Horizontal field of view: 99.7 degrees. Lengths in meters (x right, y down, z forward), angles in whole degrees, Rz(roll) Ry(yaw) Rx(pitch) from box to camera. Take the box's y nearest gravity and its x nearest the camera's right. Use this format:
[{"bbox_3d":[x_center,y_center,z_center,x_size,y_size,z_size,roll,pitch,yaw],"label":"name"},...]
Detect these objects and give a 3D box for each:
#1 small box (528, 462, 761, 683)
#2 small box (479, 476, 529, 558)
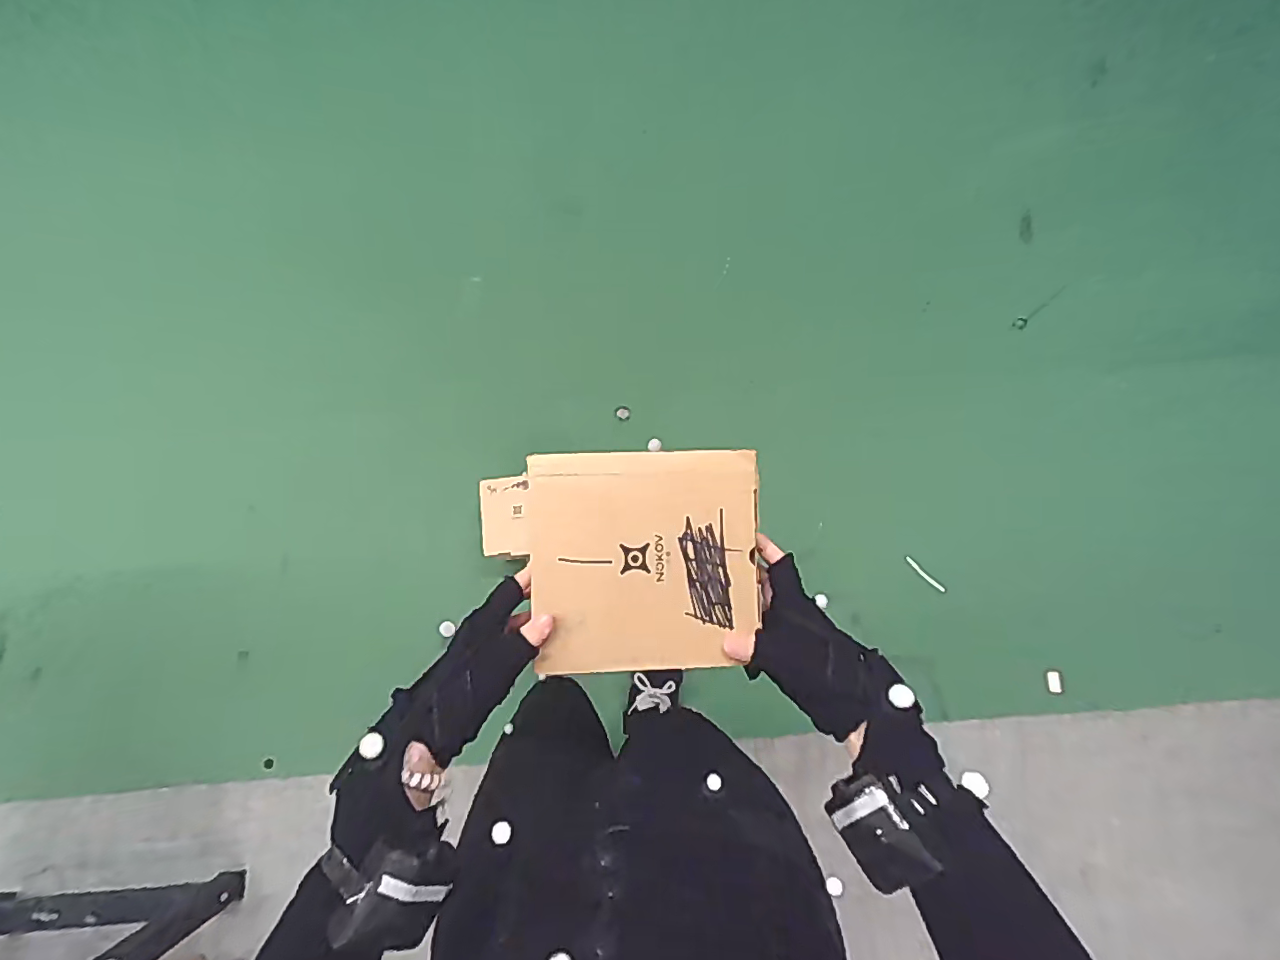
[{"bbox_3d":[-0.001,0.069,0.484,0.179,0.176,0.168,-1,88,-3],"label":"small box"},{"bbox_3d":[-0.274,0.091,1.287,0.168,0.176,0.179,-6,80,0],"label":"small box"}]
